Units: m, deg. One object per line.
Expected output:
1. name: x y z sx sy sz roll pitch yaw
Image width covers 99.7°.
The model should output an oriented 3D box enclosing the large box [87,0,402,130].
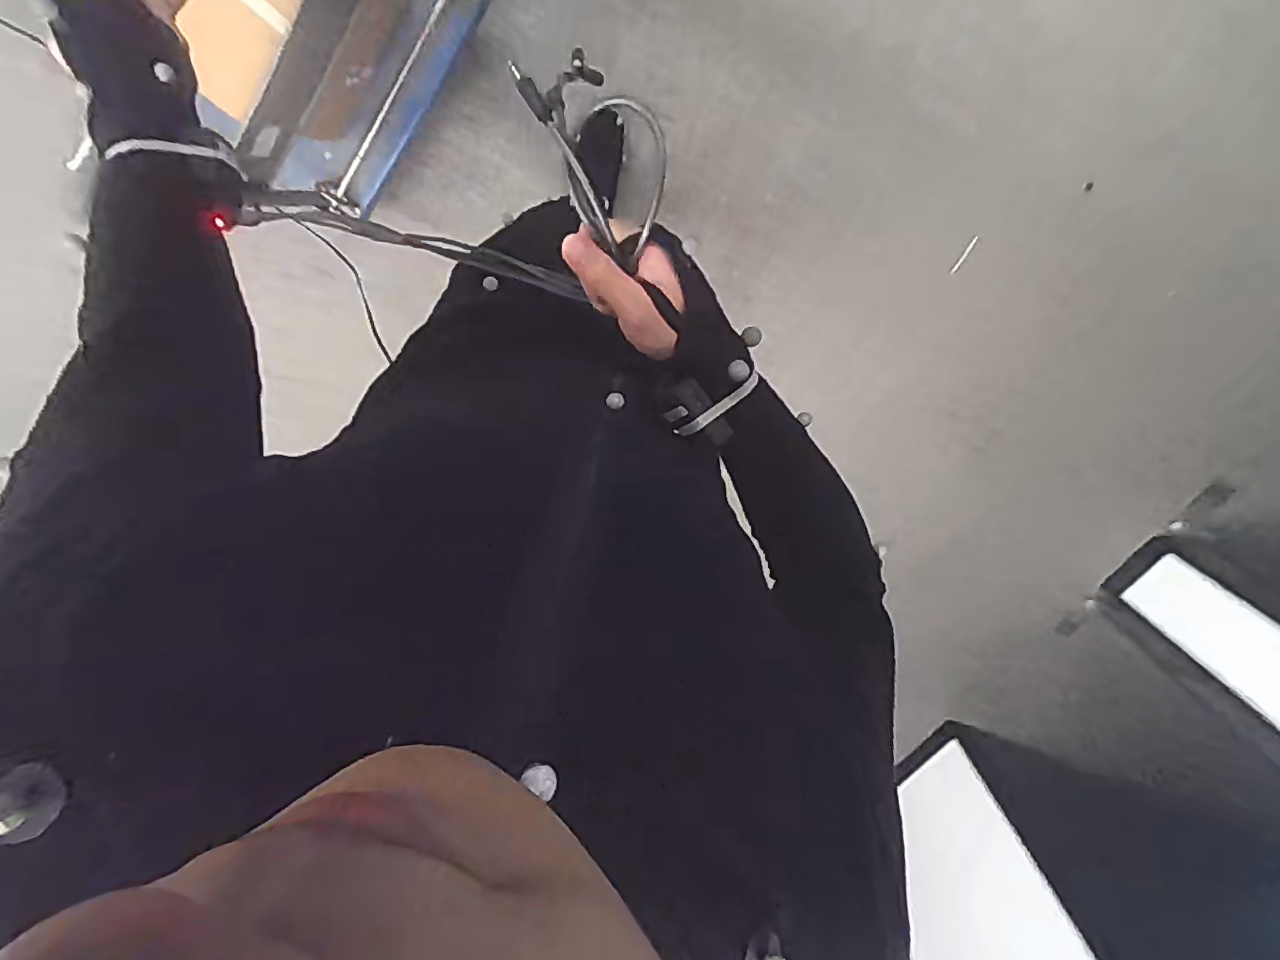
1. large box: -0.649 -0.825 0.832 0.408 0.320 0.320 35 112 -22
